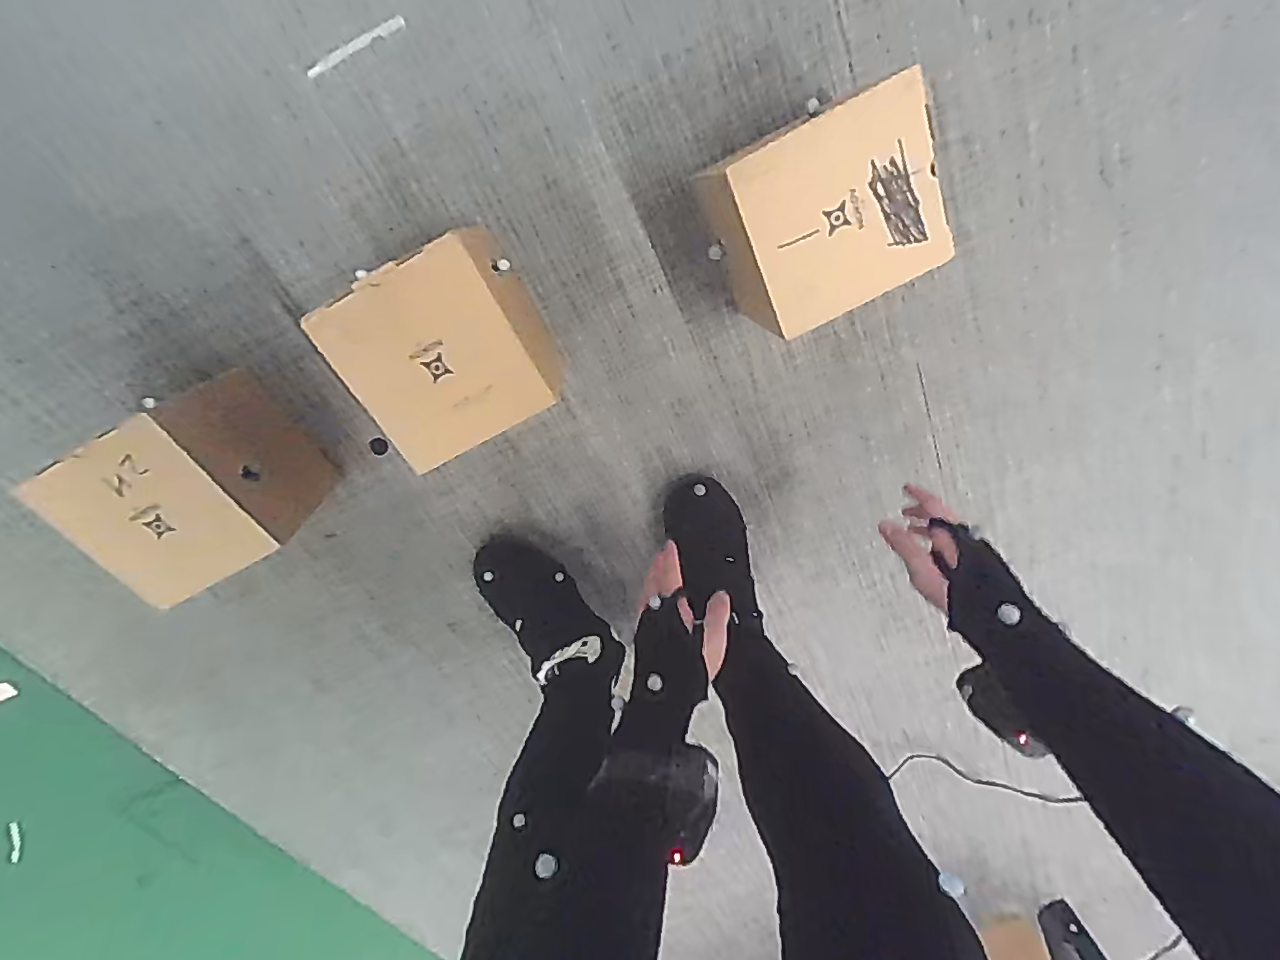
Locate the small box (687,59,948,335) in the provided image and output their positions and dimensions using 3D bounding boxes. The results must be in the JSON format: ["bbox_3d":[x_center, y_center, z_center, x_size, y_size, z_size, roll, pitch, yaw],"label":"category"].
[{"bbox_3d":[0.166,-0.274,0.545,0.179,0.176,0.168,-26,115,7],"label":"small box"}]

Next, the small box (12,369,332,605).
[{"bbox_3d":[-0.496,0.001,0.612,0.168,0.176,0.179,-27,115,6],"label":"small box"}]

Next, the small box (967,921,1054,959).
[{"bbox_3d":[0.989,1.286,1.396,0.179,0.176,0.168,-26,116,7],"label":"small box"}]

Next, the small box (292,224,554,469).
[{"bbox_3d":[-0.205,-0.147,0.571,0.168,0.176,0.179,-26,116,8],"label":"small box"}]
